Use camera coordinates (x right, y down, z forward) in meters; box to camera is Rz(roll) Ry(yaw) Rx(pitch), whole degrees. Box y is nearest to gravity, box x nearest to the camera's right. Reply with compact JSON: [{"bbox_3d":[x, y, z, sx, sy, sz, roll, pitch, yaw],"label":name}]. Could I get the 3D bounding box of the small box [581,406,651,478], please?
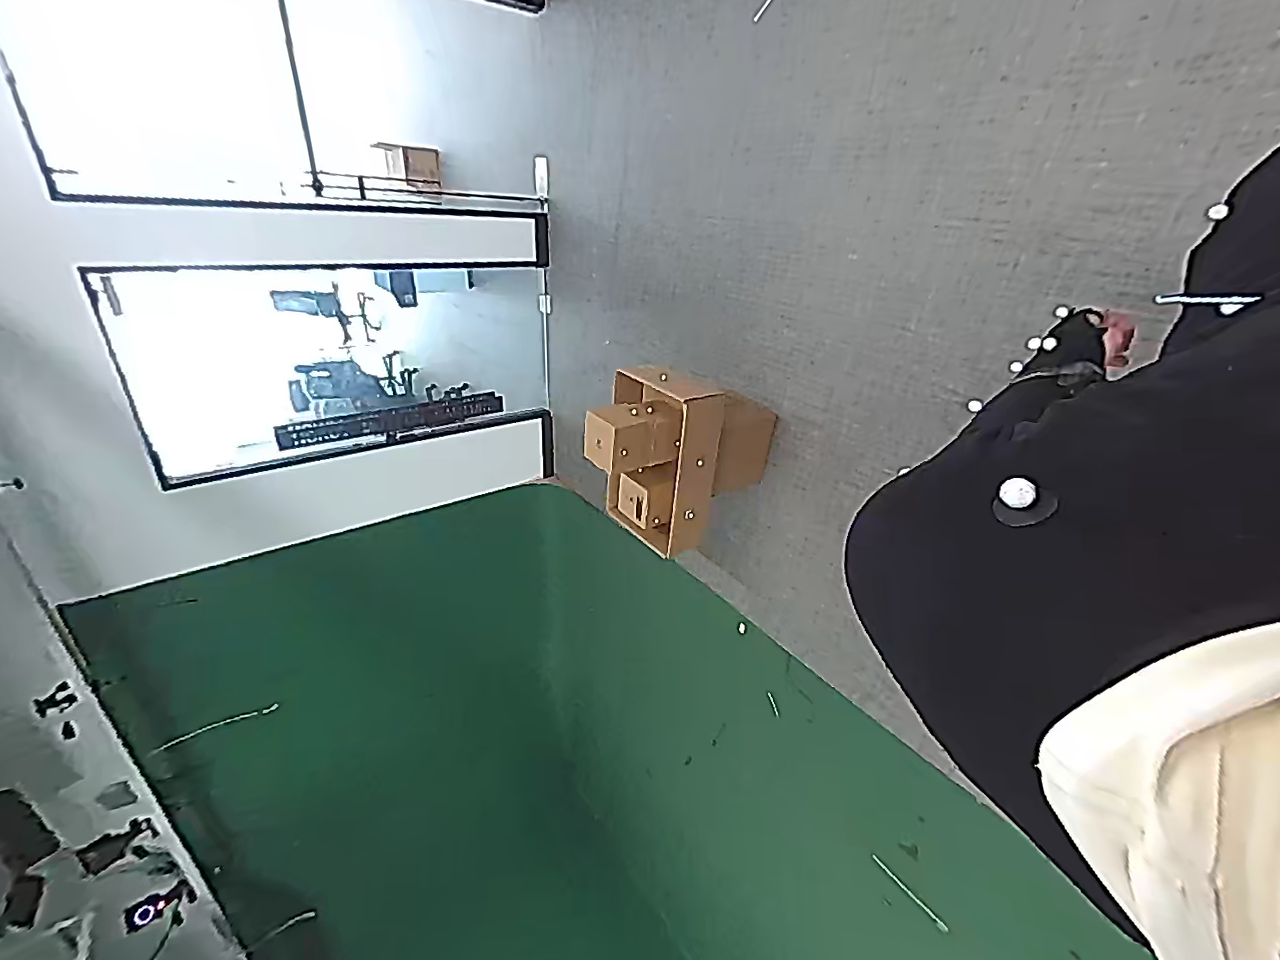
[{"bbox_3d":[-0.081,-0.134,1.823,0.168,0.176,0.179,35,129,41],"label":"small box"}]
